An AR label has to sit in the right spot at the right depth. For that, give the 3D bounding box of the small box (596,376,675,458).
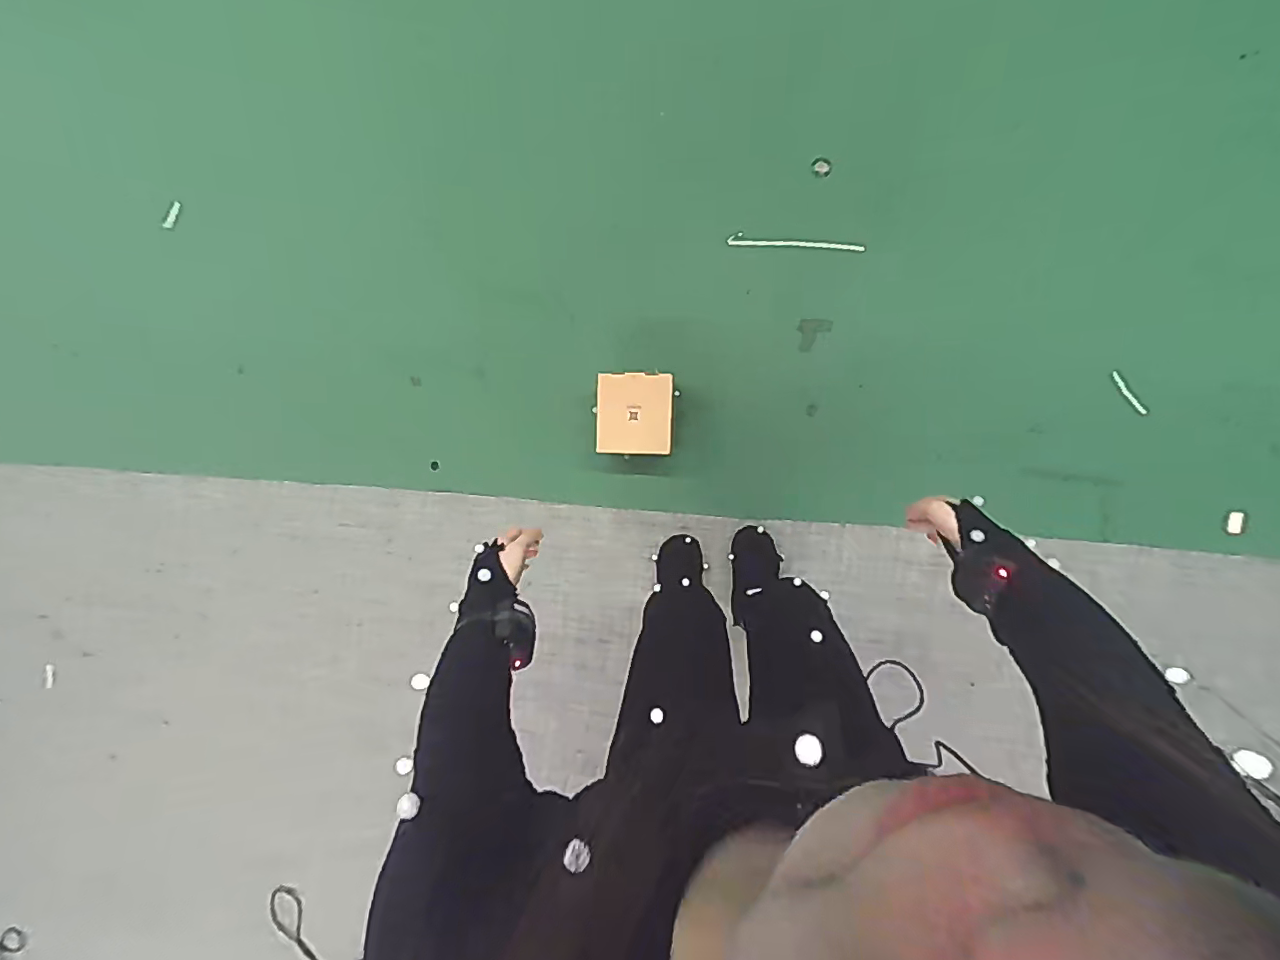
[{"bbox_3d":[-0.005,-0.143,1.255,0.168,0.176,0.179,2,93,6],"label":"small box"}]
